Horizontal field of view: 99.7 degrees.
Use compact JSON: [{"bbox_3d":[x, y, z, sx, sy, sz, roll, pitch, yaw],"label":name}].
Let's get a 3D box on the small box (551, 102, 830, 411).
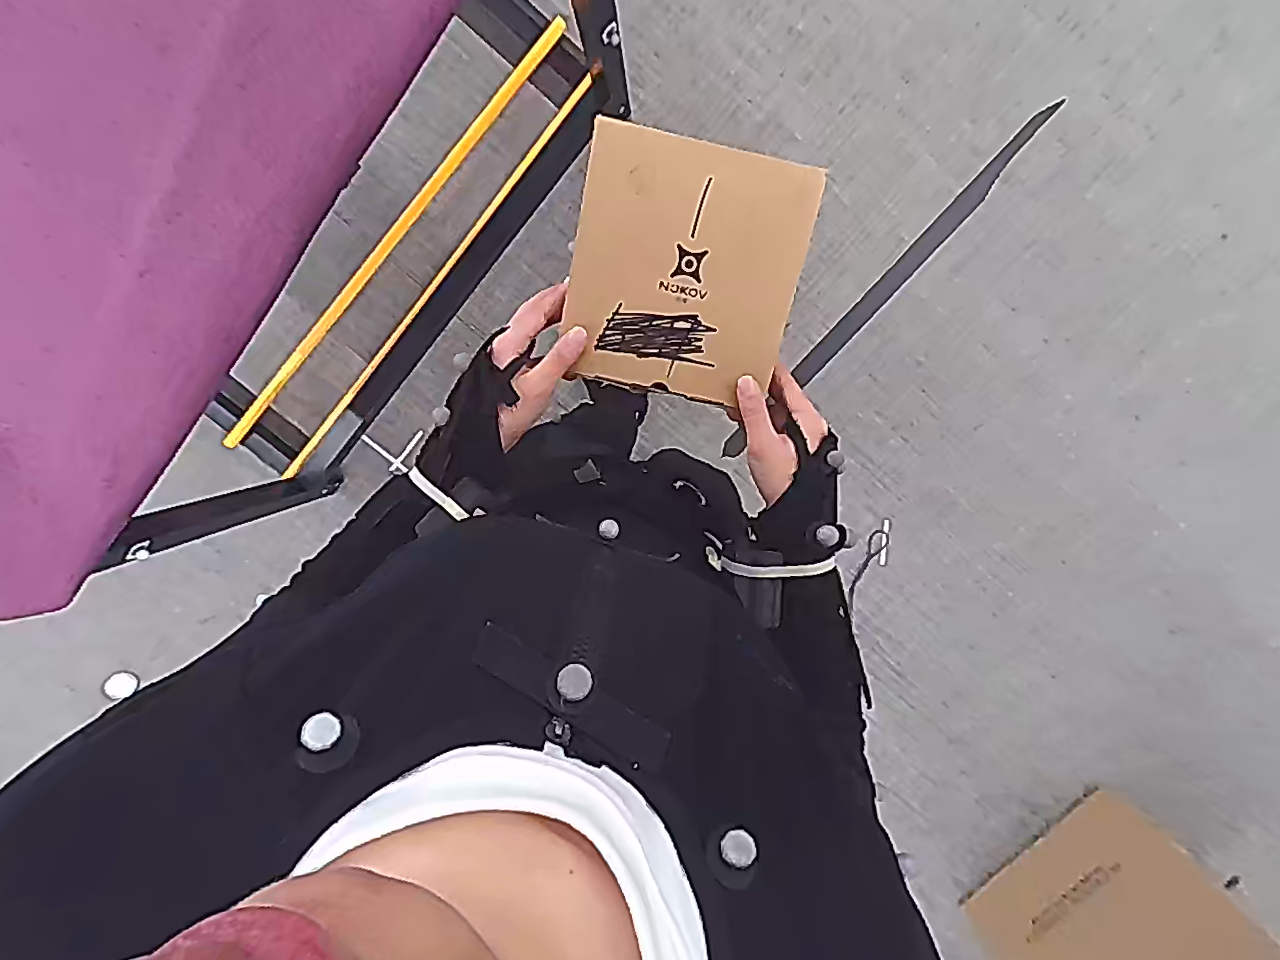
[{"bbox_3d":[0.032,-0.172,0.458,0.168,0.176,0.179,12,105,-4],"label":"small box"}]
